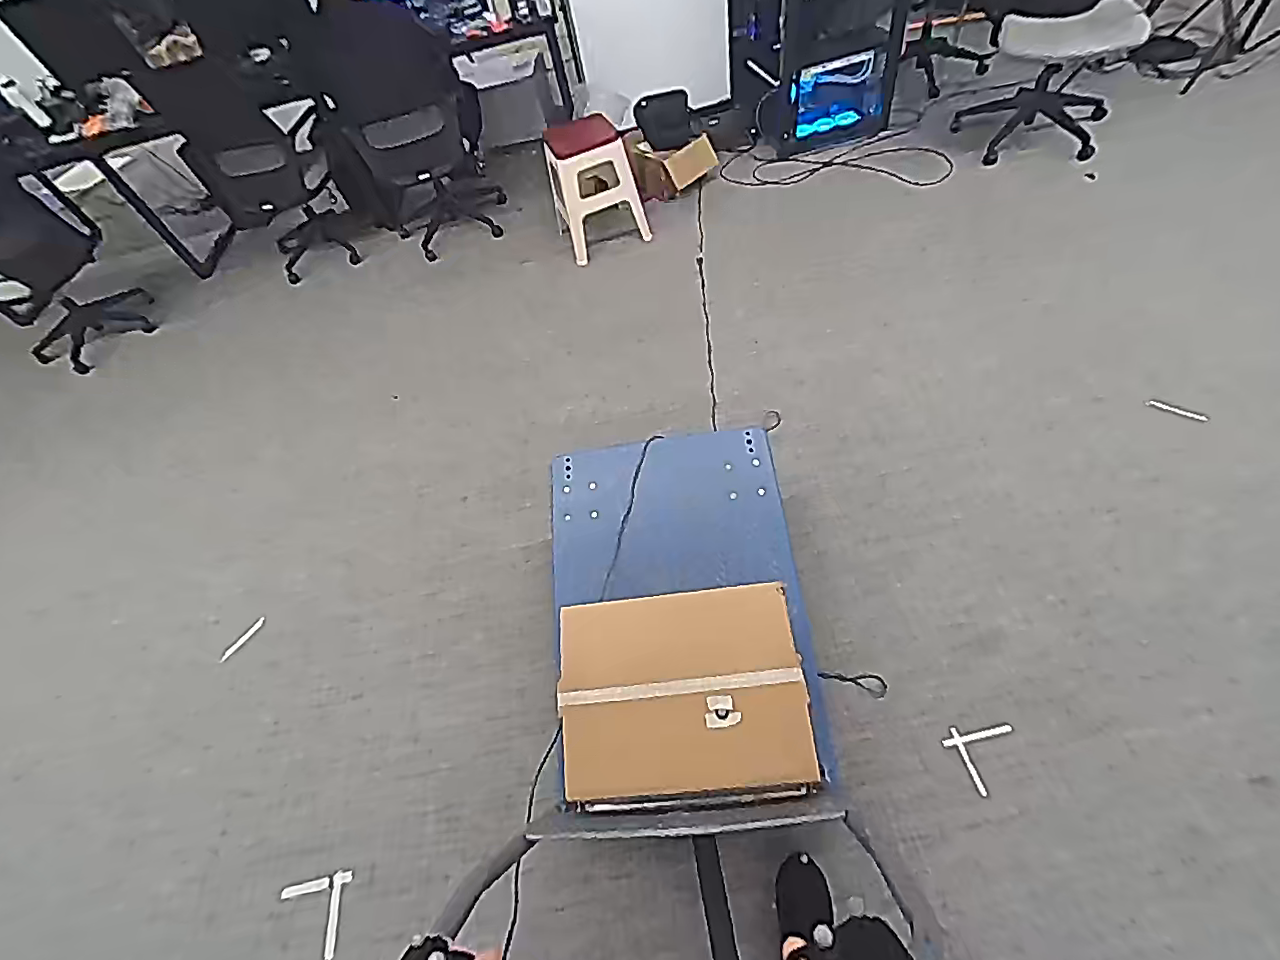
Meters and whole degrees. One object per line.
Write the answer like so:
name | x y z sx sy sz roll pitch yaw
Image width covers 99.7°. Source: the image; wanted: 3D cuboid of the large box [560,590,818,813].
large box | 0.083 0.419 1.034 0.408 0.320 0.320 -8 66 5
